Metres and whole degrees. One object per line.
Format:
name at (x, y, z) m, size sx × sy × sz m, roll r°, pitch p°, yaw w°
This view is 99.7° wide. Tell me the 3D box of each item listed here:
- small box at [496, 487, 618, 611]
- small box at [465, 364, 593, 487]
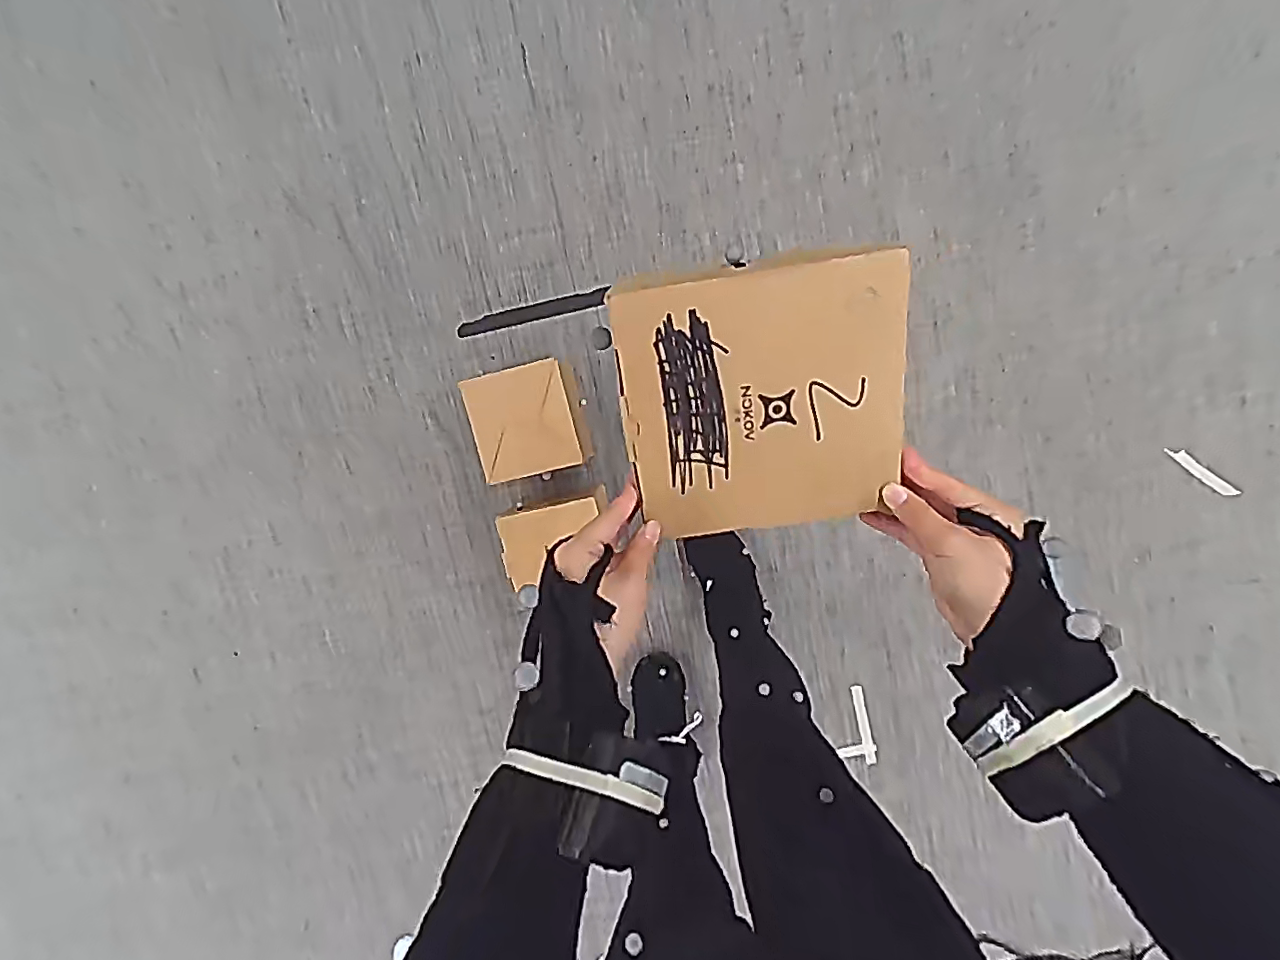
small box at (-0.139, 0.117, 0.985) m, size 0.179 × 0.176 × 0.168 m, roll -12°, pitch 97°, yaw 4°
small box at (-0.190, -0.099, 0.952) m, size 0.168 × 0.176 × 0.179 m, roll -13°, pitch 97°, yaw 4°
